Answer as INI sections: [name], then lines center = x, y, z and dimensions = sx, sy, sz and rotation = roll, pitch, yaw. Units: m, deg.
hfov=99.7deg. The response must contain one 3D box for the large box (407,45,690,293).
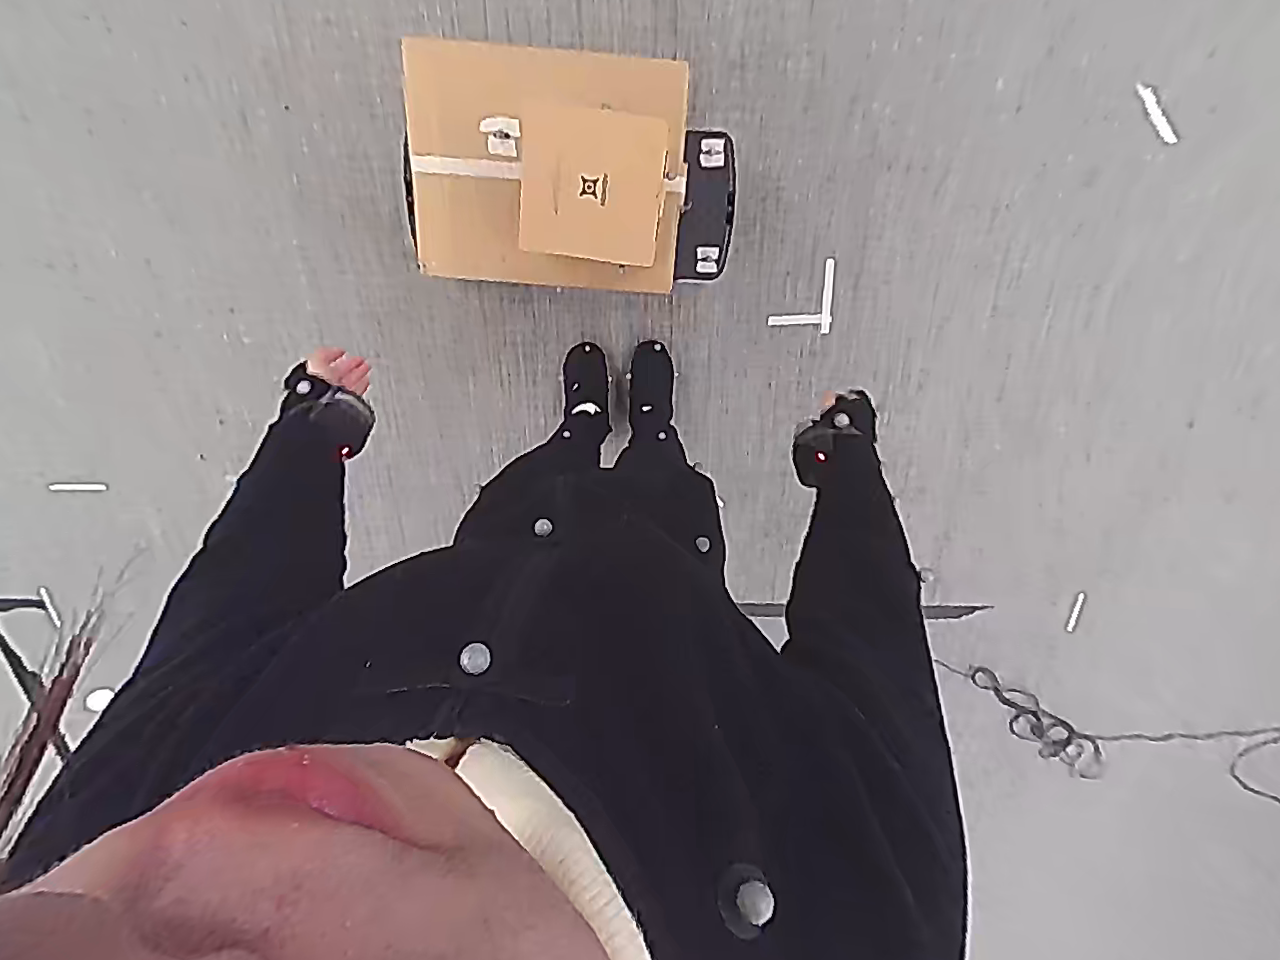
[large box]
center = -0.132, -0.505, 0.942
dimensions = 0.408, 0.320, 0.320
rotation = 4, 110, -1

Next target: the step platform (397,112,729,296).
[step platform]
center = -0.155, -0.581, 1.168
dimensions = 0.684, 0.204, 0.286
rotation = 6, 111, -2

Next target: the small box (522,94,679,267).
[small box]
center = -0.052, -0.387, 0.725
dimensions = 0.179, 0.176, 0.168
rotation = 7, 112, -3
